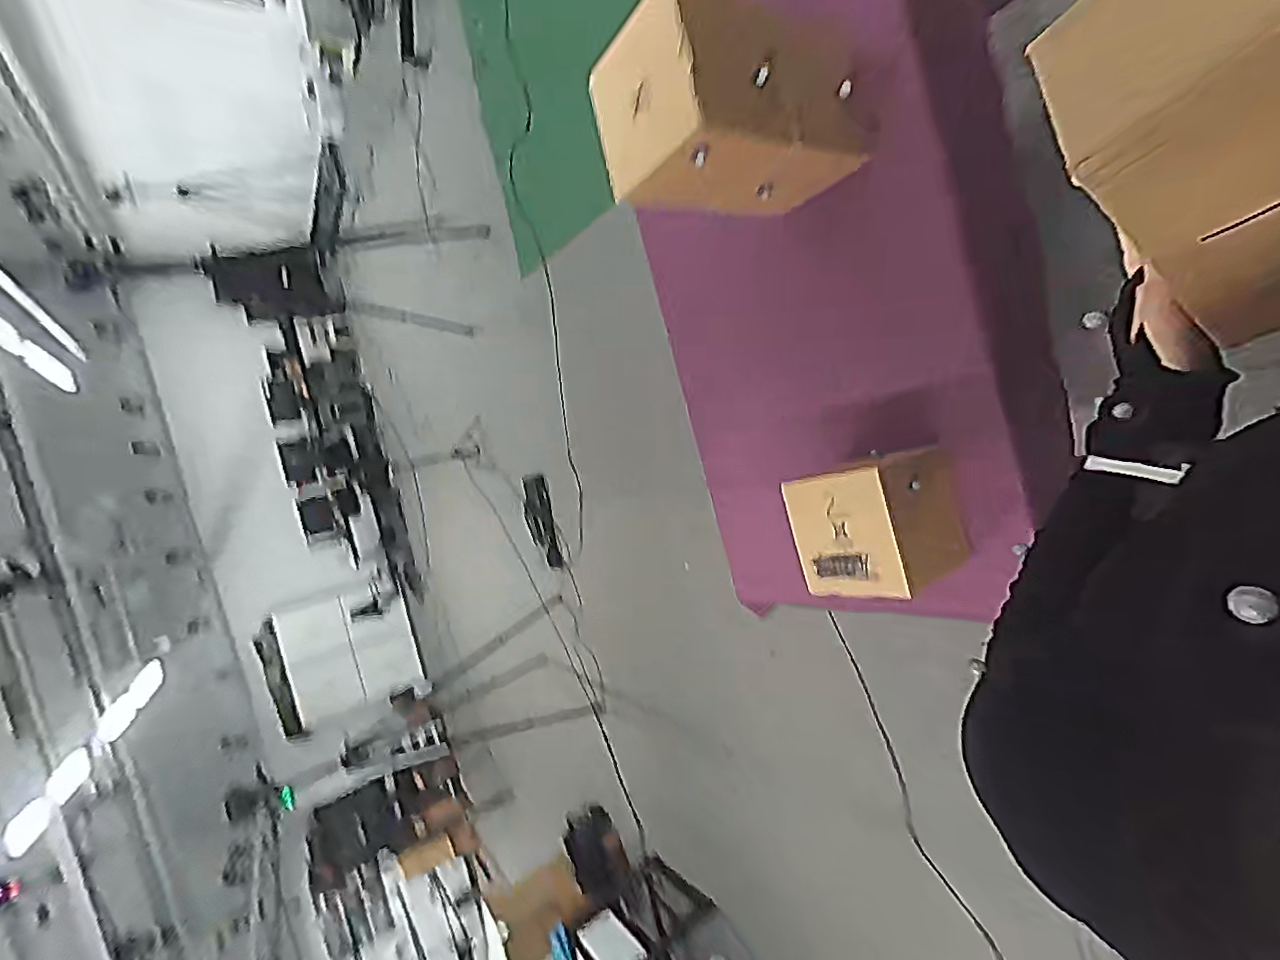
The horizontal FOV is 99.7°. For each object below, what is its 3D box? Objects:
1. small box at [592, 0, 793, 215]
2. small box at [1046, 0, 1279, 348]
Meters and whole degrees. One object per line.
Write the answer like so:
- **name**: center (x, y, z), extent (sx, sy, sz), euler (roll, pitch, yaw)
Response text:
- **small box**: center (0.066, -0.462, 0.697), extent (0.179, 0.176, 0.168), euler (-8, 96, 55)
- **small box**: center (0.351, -0.212, 0.275), extent (0.179, 0.168, 0.176), euler (-33, 32, 52)
